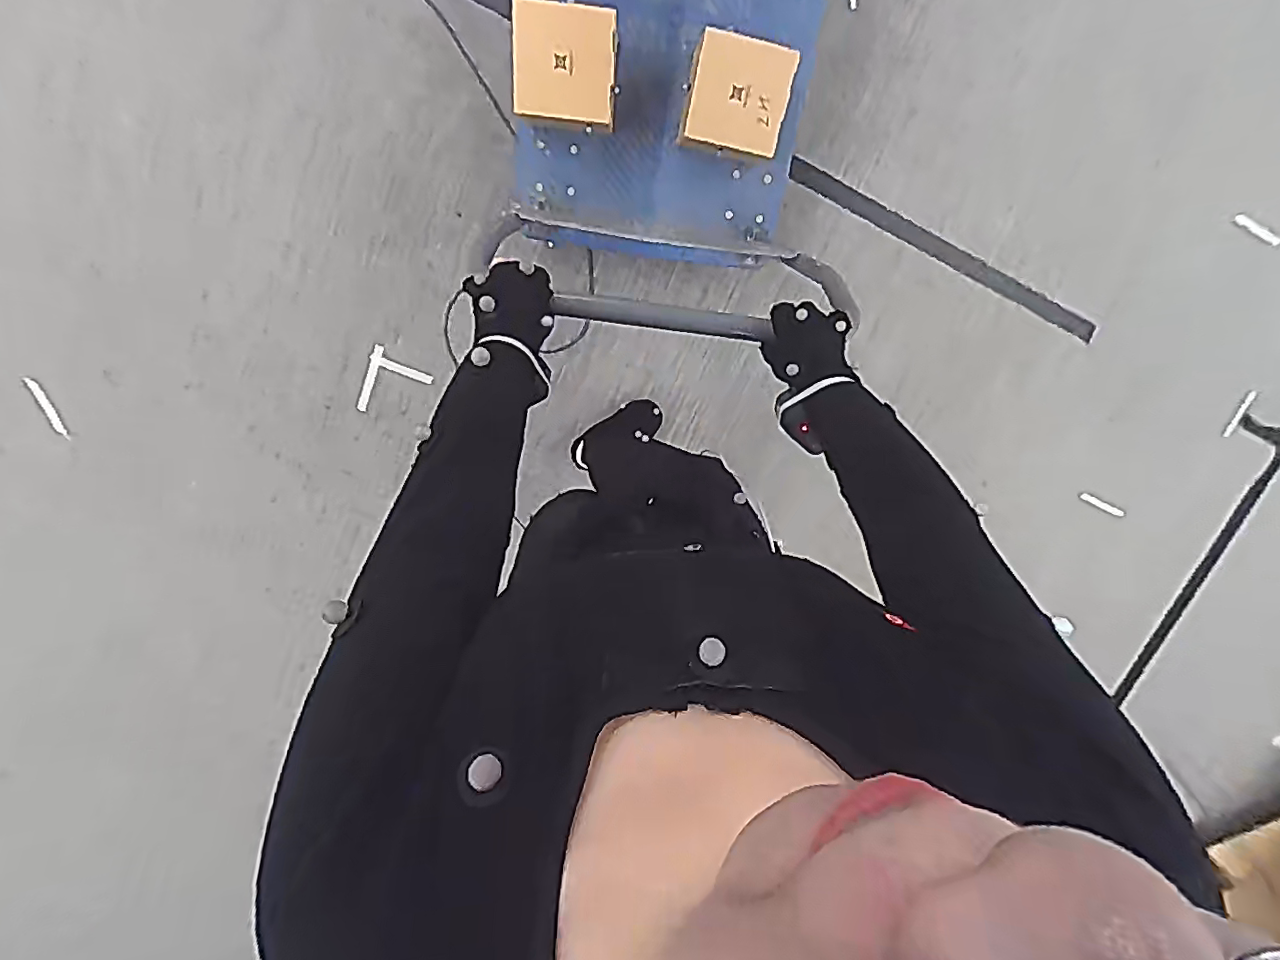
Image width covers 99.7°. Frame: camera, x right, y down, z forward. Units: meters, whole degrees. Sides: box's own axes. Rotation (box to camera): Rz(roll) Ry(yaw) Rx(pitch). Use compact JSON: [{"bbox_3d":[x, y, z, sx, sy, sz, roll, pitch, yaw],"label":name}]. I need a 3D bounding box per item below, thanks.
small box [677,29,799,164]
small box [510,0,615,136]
[{"bbox_3d":[0.175,-0.720,1.037,0.179,0.176,0.168,9,116,-7],"label":"small box"},{"bbox_3d":[-0.139,-0.754,1.008,0.179,0.176,0.168,2,116,-5],"label":"small box"}]
